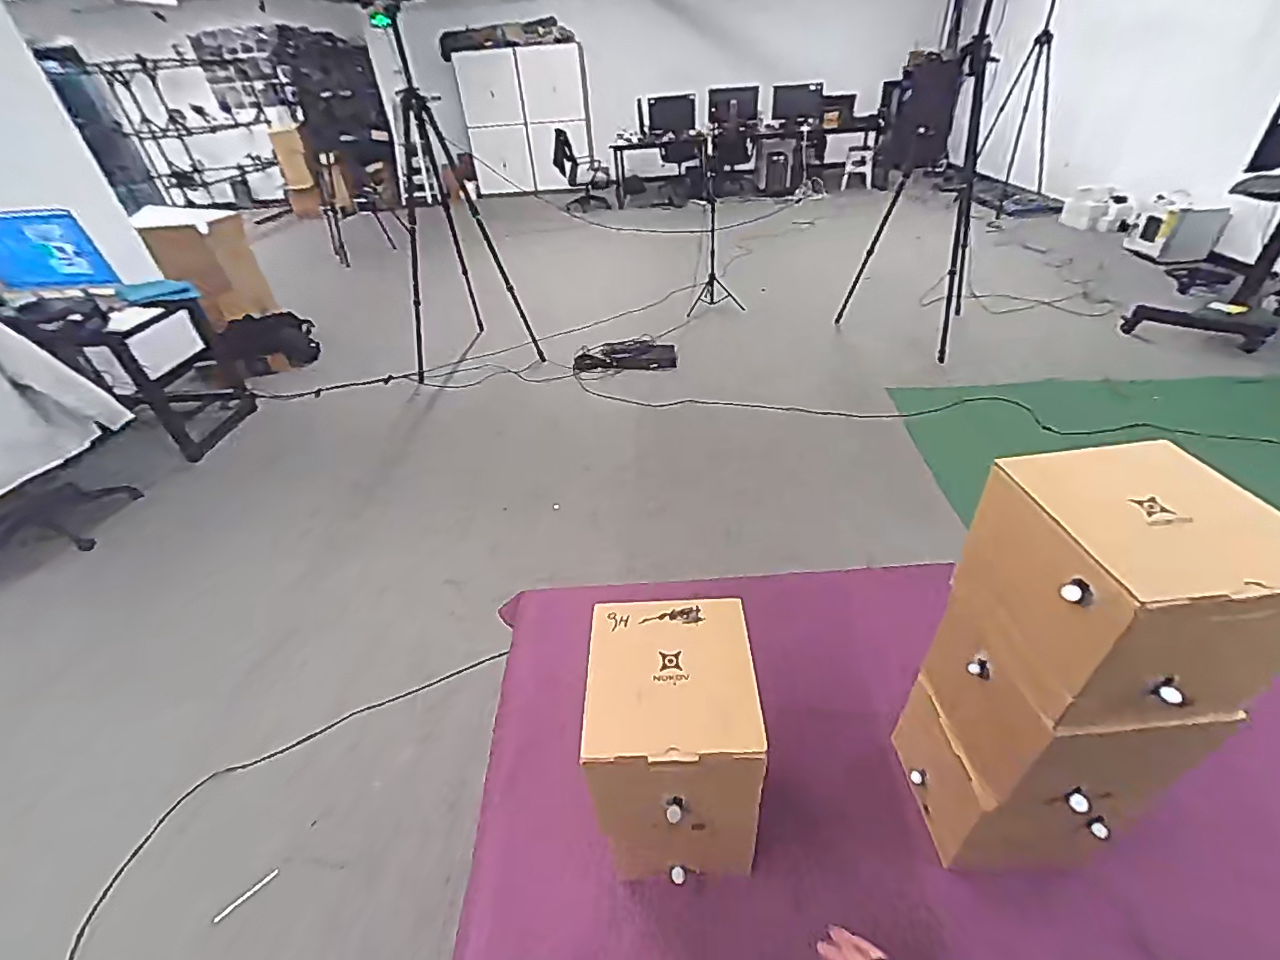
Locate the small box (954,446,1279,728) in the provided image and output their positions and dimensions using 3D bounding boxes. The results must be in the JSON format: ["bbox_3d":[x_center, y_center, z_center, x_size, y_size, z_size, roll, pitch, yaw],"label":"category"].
[{"bbox_3d":[0.421,0.092,0.485,0.168,0.176,0.179,-7,38,-1],"label":"small box"}]

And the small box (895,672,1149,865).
[{"bbox_3d":[0.449,0.355,0.675,0.179,0.176,0.168,-4,37,2],"label":"small box"}]

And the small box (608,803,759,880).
[{"bbox_3d":[0.052,0.380,0.691,0.168,0.176,0.179,-3,38,3],"label":"small box"}]

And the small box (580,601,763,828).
[{"bbox_3d":[0.036,0.255,0.586,0.168,0.176,0.179,-2,38,3],"label":"small box"}]

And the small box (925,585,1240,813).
[{"bbox_3d":[0.436,0.224,0.578,0.168,0.176,0.179,-5,38,1],"label":"small box"}]
